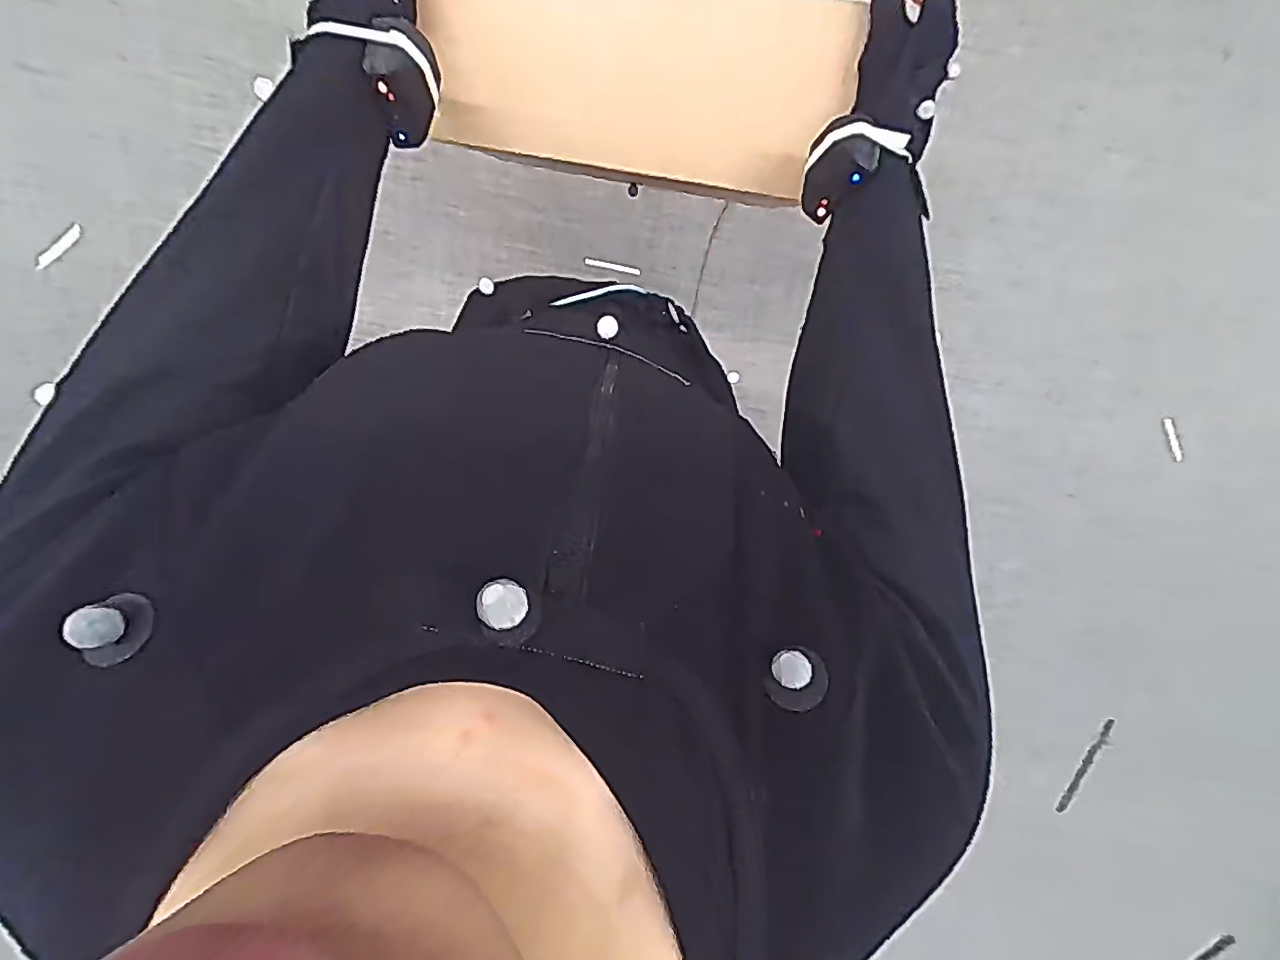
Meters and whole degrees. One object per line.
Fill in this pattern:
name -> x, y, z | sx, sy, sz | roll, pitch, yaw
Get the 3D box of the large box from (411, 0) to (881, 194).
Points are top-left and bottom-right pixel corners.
large box -> 0.016, -0.503, 0.574 | 0.408, 0.320, 0.320 | 10, 116, -2
